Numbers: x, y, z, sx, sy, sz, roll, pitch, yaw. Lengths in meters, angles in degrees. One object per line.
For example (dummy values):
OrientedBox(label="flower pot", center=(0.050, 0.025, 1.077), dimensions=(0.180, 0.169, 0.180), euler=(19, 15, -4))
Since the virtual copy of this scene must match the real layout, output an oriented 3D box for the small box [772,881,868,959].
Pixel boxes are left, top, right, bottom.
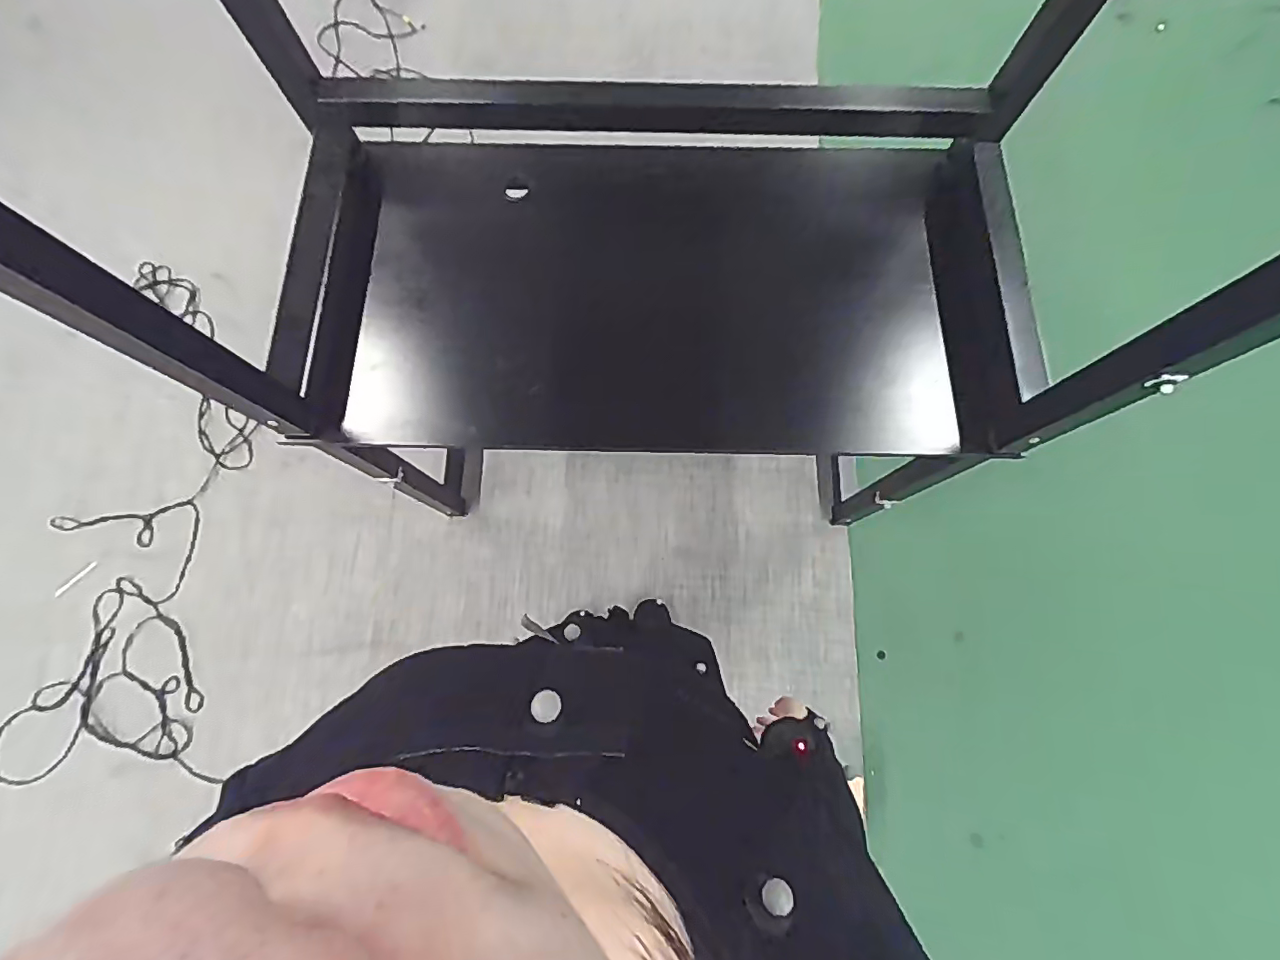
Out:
OrientedBox(label="small box", center=(0.411, 1.055, 1.241), dimensions=(0.168, 0.176, 0.179), euler=(-5, 77, 0))
